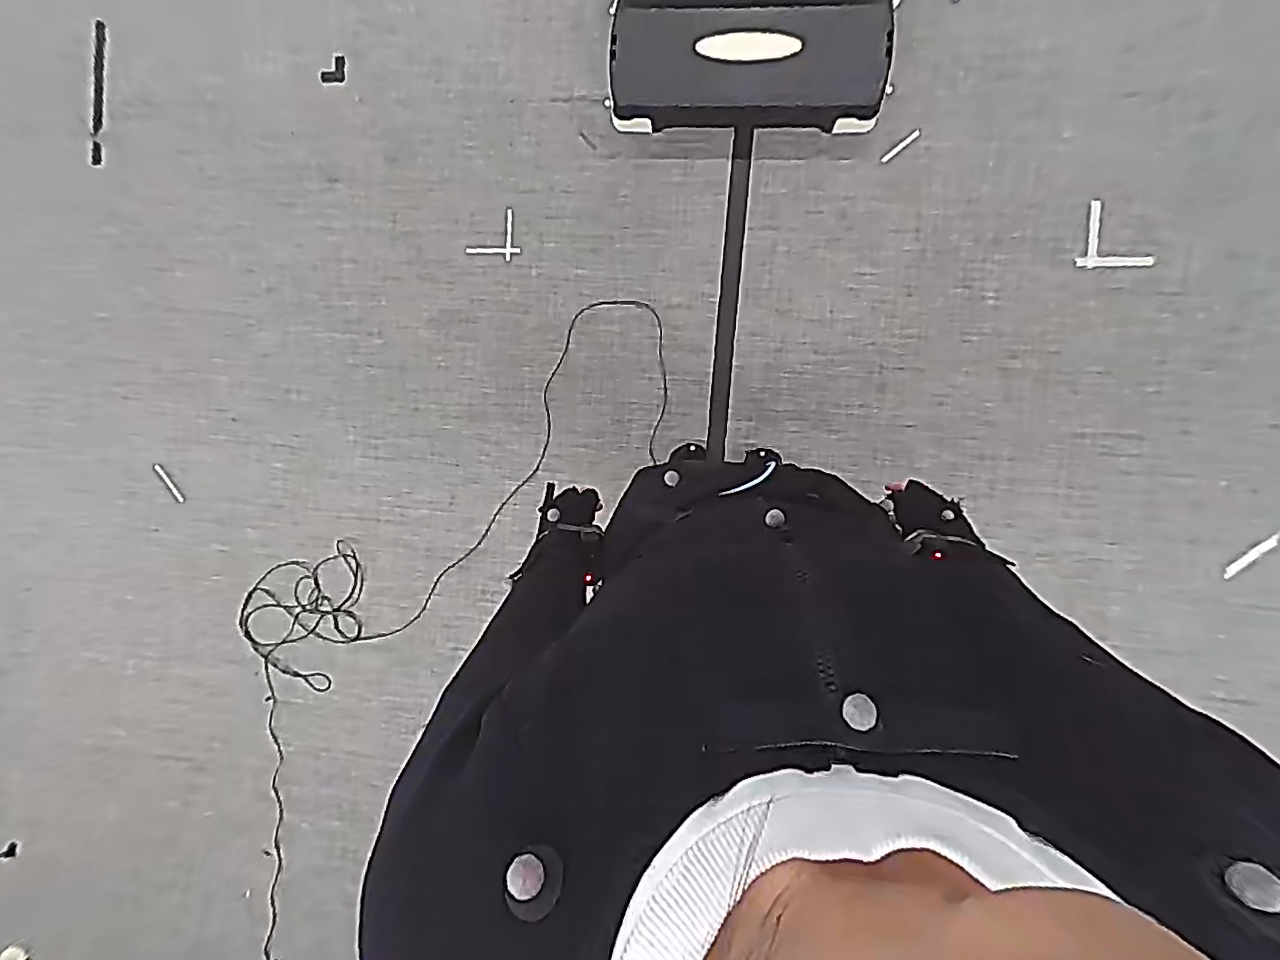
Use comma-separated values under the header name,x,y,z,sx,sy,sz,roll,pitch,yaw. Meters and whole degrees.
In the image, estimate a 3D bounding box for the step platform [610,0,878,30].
name,x,y,z,sx,sy,sz,roll,pitch,yaw
step platform,0.251,-1.279,1.262,0.684,0.204,0.286,3,94,5
